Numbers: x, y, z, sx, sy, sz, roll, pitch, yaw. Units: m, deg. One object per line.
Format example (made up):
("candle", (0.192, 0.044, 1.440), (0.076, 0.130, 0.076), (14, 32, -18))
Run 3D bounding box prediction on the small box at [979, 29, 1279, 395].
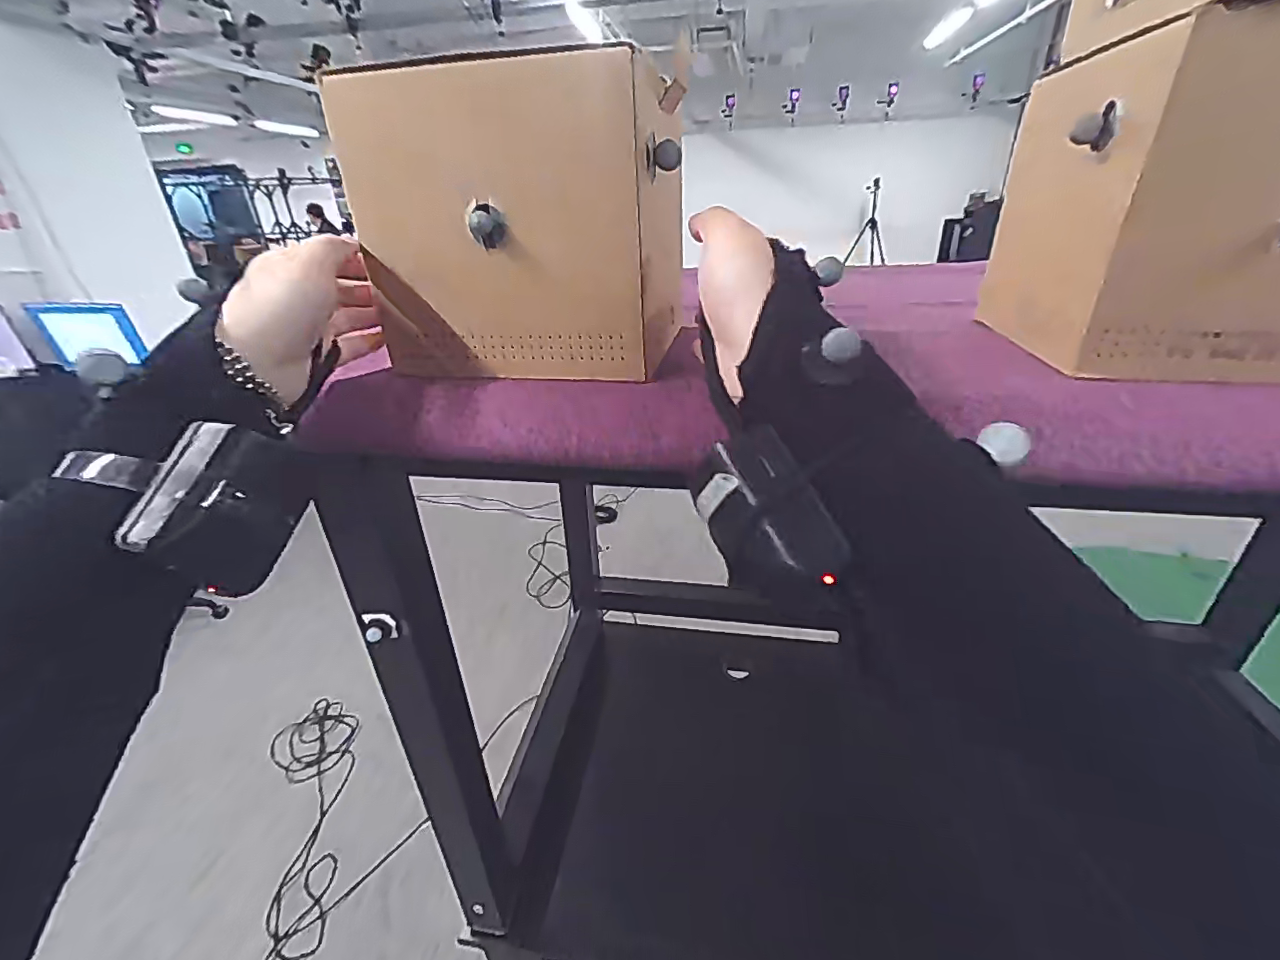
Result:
("small box", (0.340, -0.156, 0.330), (0.168, 0.176, 0.179), (5, 28, 11))
